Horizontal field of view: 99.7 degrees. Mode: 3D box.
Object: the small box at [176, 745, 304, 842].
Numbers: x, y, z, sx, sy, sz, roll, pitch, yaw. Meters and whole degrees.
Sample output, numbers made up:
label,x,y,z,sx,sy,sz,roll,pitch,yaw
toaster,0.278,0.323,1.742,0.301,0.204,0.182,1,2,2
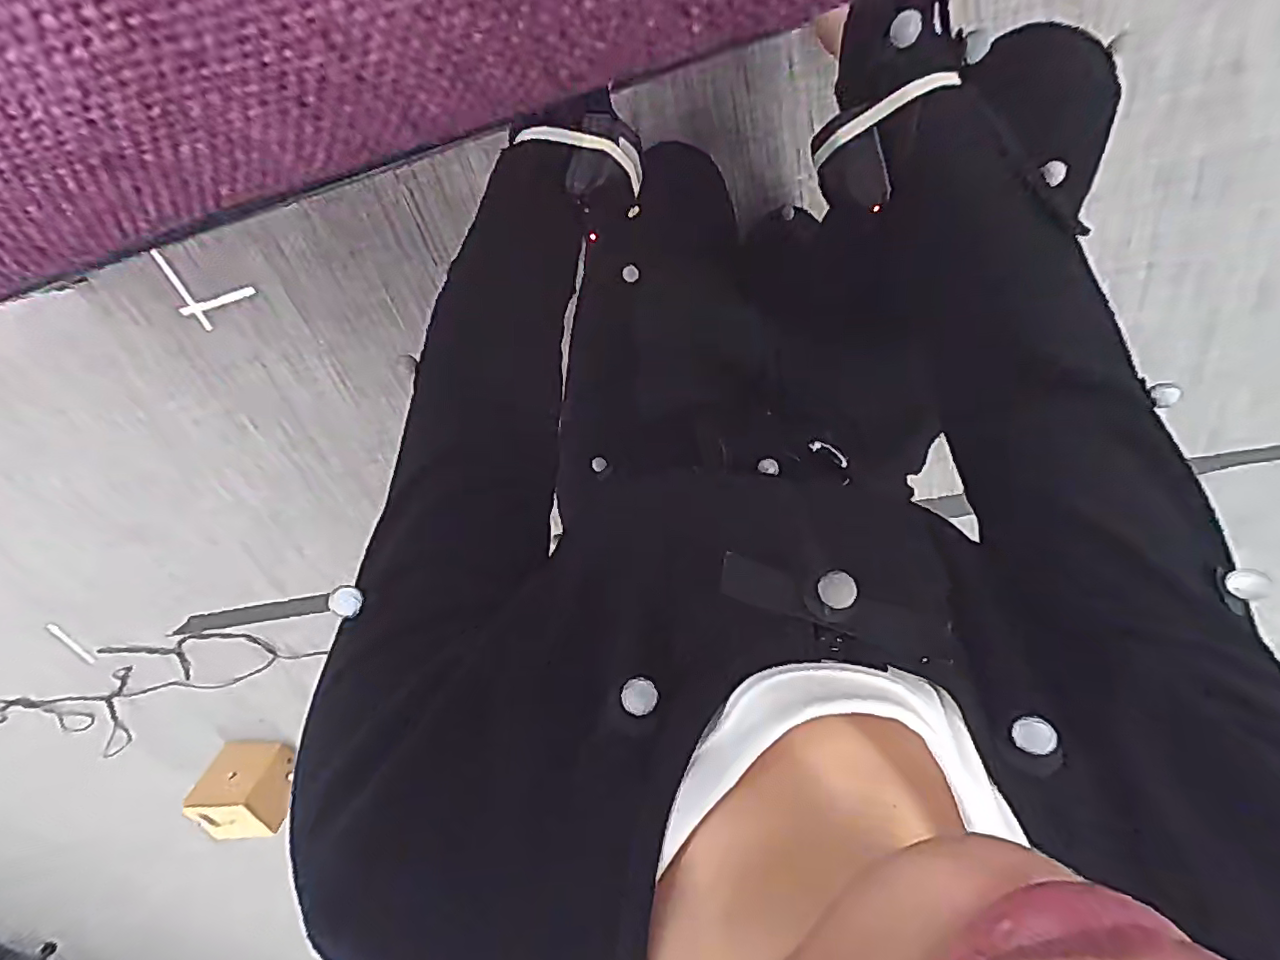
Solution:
label,x,y,z,sx,sy,sz,roll,pitch,yaw
small box,-1.040,0.822,1.423,0.179,0.176,0.168,-6,123,6
